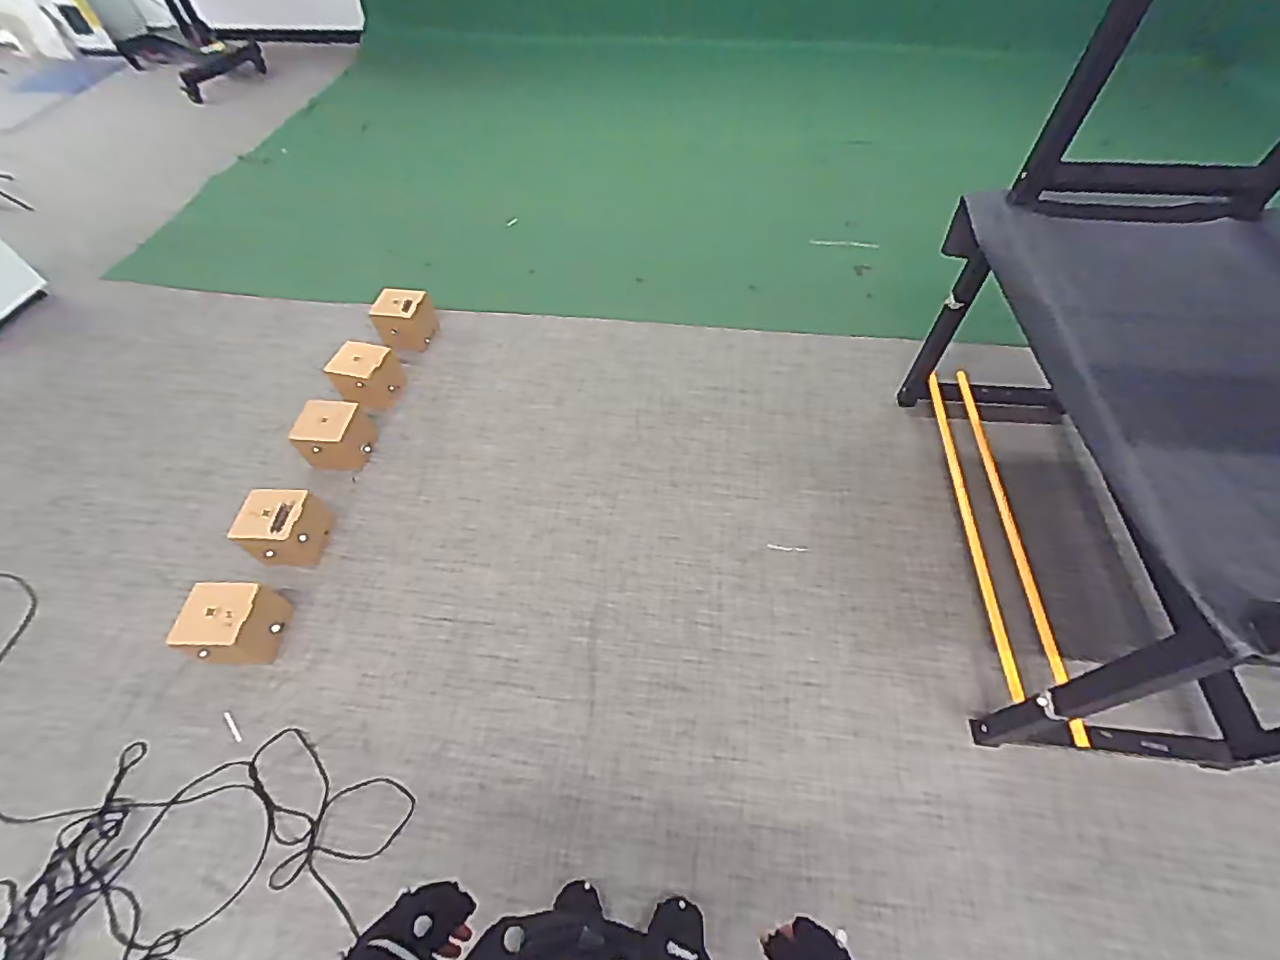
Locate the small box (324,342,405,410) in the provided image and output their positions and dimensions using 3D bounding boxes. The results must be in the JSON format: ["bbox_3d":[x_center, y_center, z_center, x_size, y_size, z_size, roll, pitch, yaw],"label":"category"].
[{"bbox_3d":[-0.995,-0.374,1.970,0.179,0.176,0.168,11,56,8],"label":"small box"}]

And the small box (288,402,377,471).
[{"bbox_3d":[-1.018,-0.142,1.806,0.179,0.176,0.168,4,57,2],"label":"small box"}]

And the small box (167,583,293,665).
[{"bbox_3d":[-1.075,0.385,1.434,0.179,0.176,0.168,0,56,1],"label":"small box"}]

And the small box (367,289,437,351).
[{"bbox_3d":[-0.937,-0.632,2.150,0.179,0.176,0.168,6,55,6],"label":"small box"}]
